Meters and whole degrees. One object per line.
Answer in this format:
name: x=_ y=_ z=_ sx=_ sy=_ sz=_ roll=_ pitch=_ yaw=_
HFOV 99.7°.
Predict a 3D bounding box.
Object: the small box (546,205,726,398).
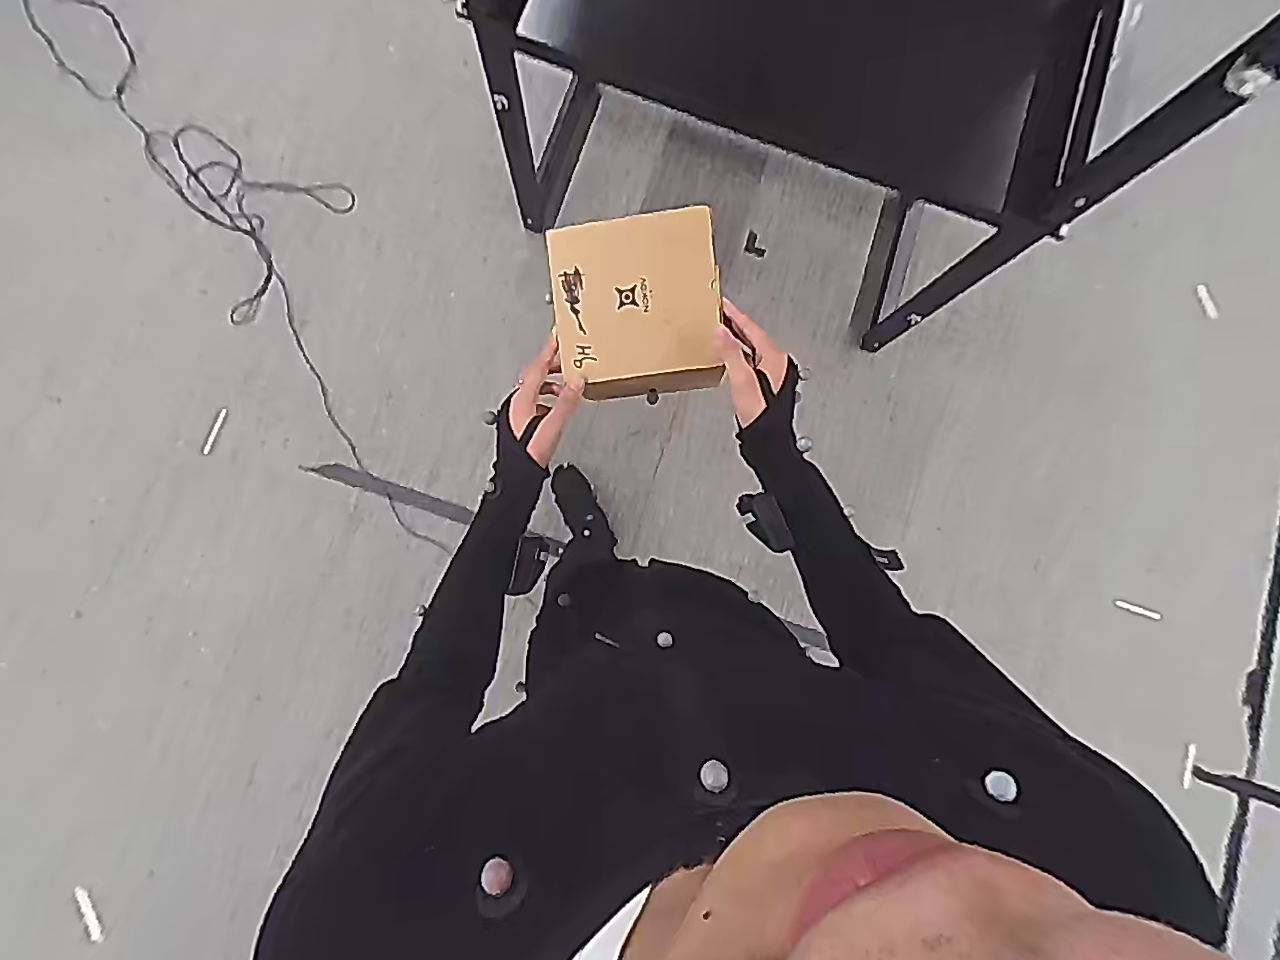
small box: x=0.001 y=-0.195 z=0.639 sx=0.179 sy=0.176 sz=0.168 roll=-6 pitch=90 yaw=5
